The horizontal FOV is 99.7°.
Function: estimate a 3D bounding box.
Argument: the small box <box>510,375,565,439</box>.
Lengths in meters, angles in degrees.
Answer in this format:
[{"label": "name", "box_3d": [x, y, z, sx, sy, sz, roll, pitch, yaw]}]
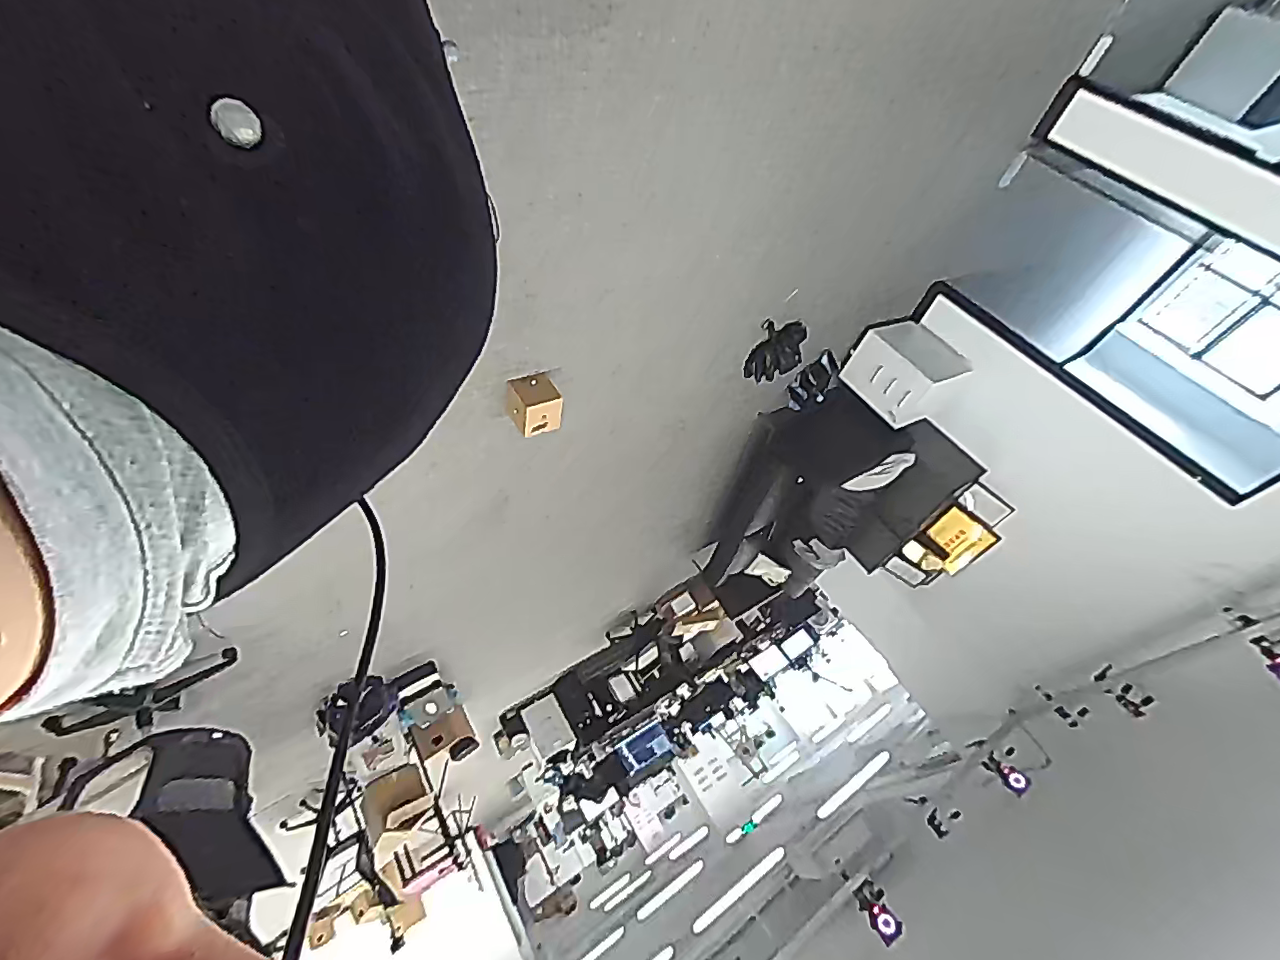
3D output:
[{"label": "small box", "box_3d": [-0.426, -0.304, 2.226, 0.168, 0.176, 0.179, -22, 149, -29]}]
